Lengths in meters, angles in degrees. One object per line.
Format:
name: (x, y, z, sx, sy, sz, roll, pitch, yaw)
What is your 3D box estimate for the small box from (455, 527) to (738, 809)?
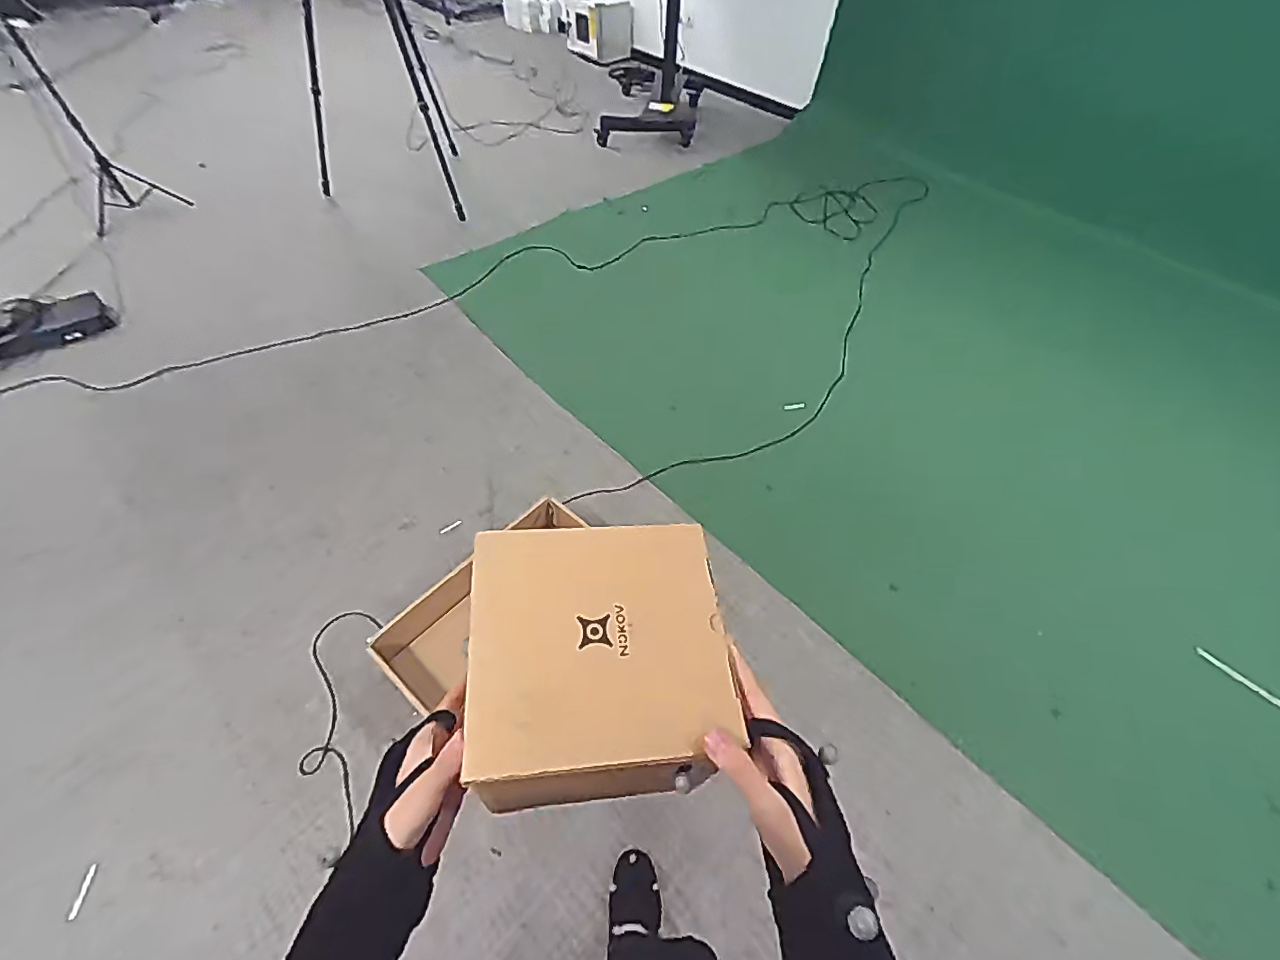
small box: (-0.042, 0.153, 0.435, 0.179, 0.176, 0.168, -1, 54, -11)
